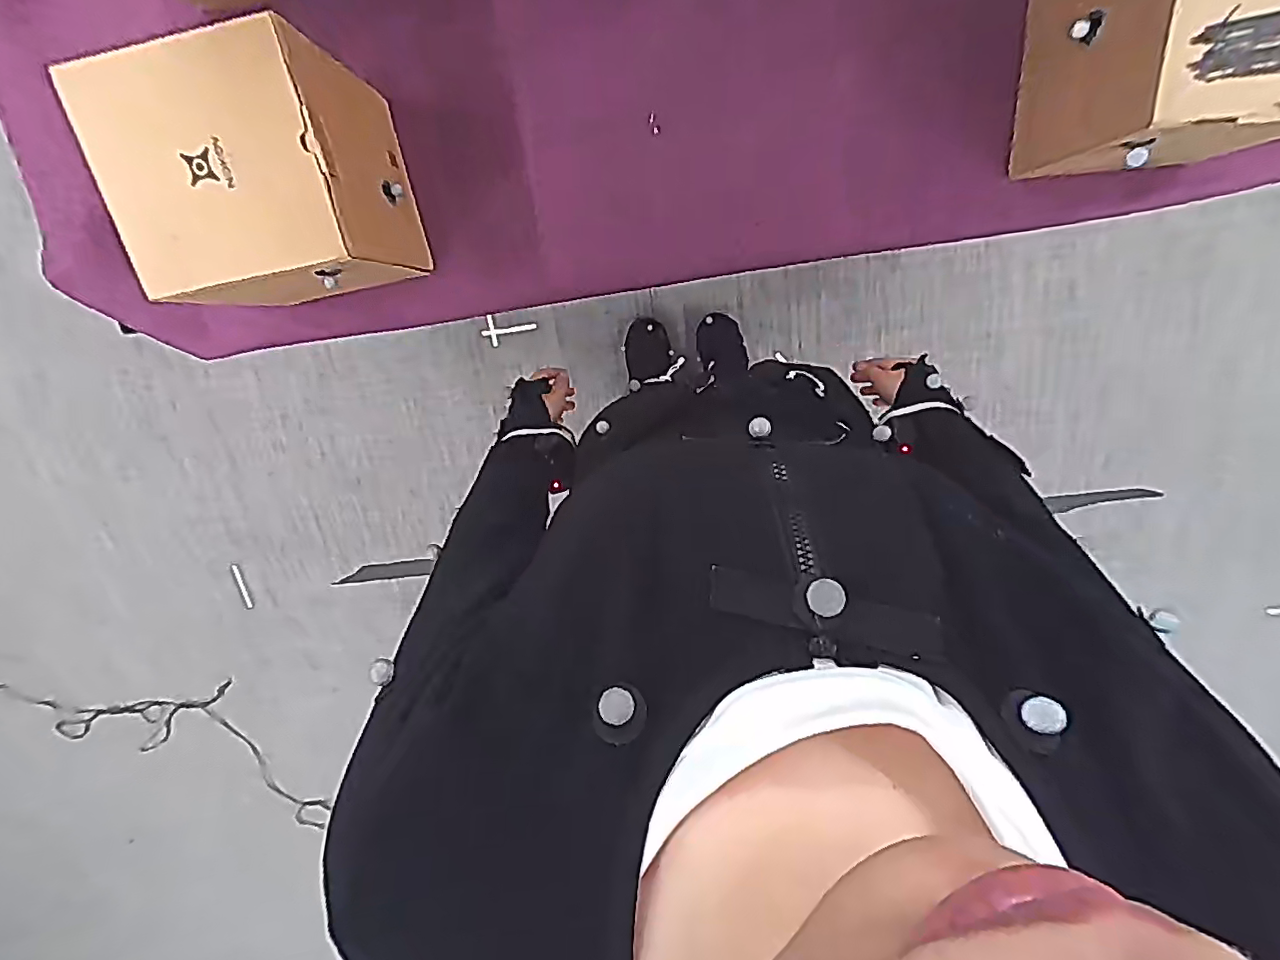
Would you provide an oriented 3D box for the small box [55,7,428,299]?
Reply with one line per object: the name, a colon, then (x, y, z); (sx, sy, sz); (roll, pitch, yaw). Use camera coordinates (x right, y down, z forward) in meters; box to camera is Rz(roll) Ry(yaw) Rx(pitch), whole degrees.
small box: (-0.324, -0.263, 0.484); (0.179, 0.176, 0.168); (-11, 107, 4)
